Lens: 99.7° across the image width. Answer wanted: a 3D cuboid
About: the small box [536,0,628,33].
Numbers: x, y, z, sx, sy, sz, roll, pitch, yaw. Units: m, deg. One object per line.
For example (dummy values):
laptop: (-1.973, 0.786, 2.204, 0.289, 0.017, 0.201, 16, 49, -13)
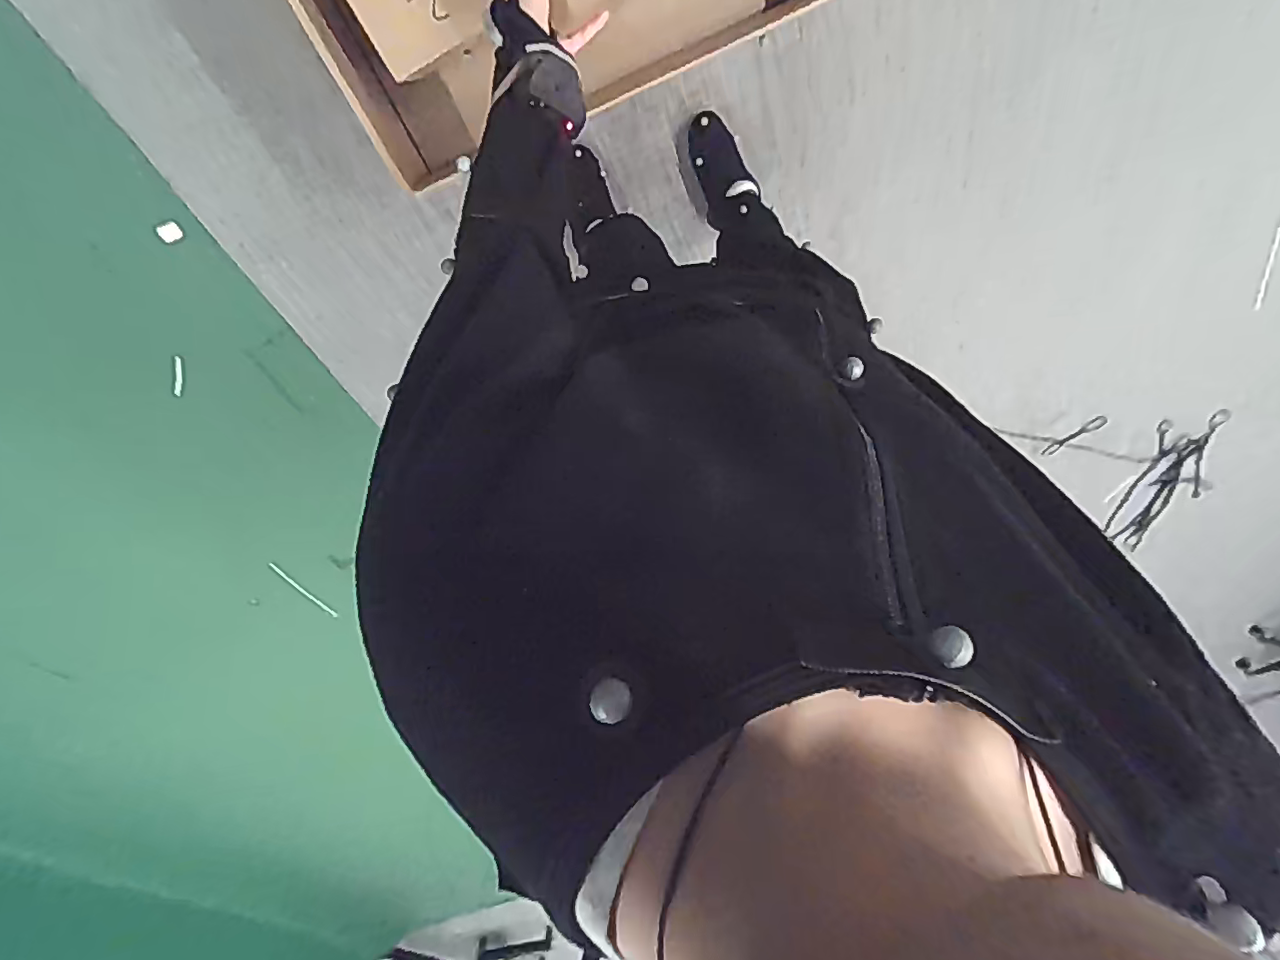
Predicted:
small box: (-0.025, -0.540, 0.465, 0.179, 0.176, 0.168, -11, 128, 34)
